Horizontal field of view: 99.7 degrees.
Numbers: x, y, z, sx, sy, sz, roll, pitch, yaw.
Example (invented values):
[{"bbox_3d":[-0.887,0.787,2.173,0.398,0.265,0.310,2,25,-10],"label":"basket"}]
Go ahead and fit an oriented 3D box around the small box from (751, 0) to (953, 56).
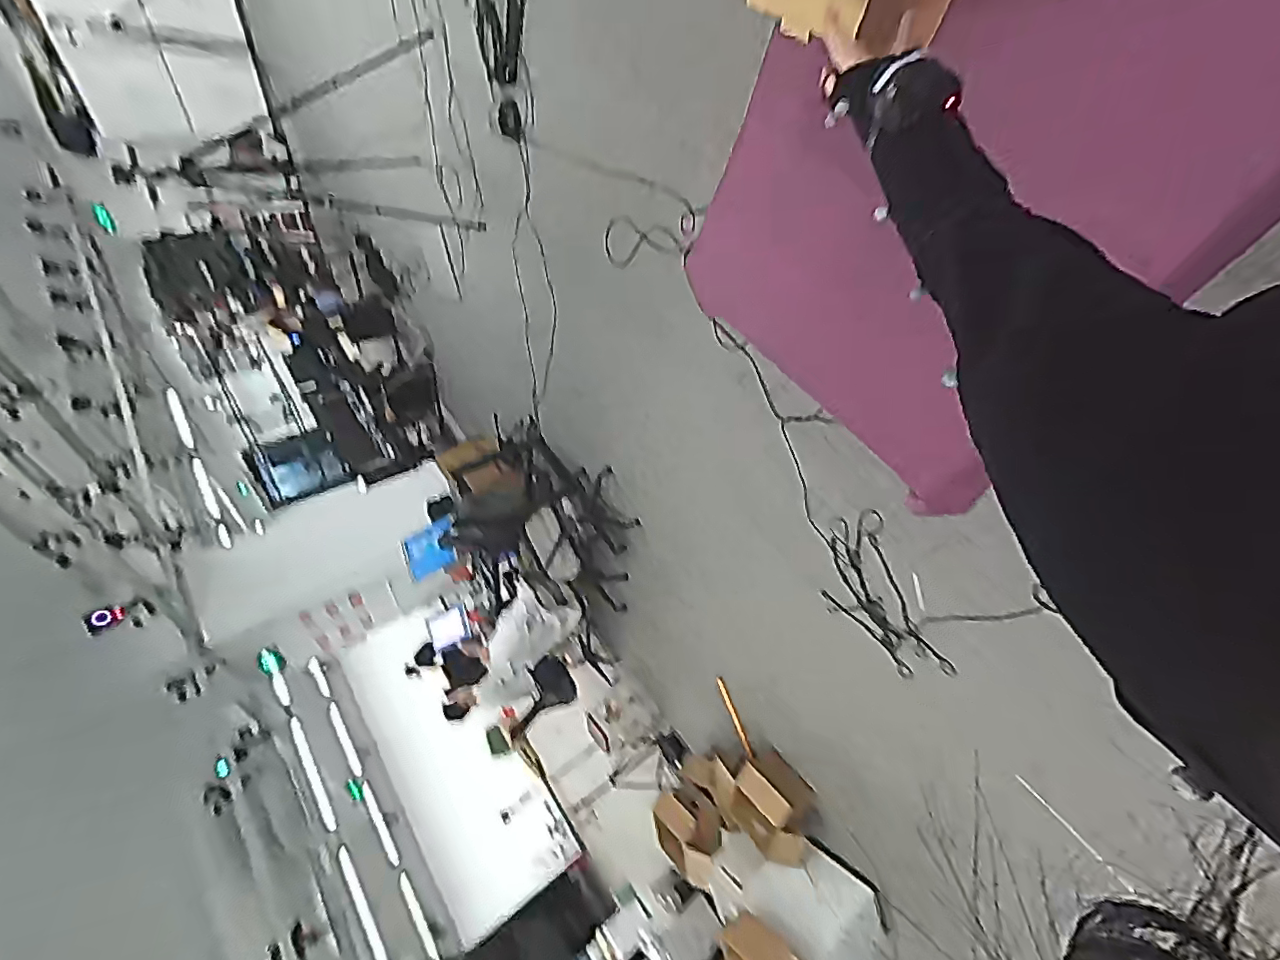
[{"bbox_3d":[0.256,-0.595,0.585,0.168,0.176,0.179,47,148,24],"label":"small box"}]
